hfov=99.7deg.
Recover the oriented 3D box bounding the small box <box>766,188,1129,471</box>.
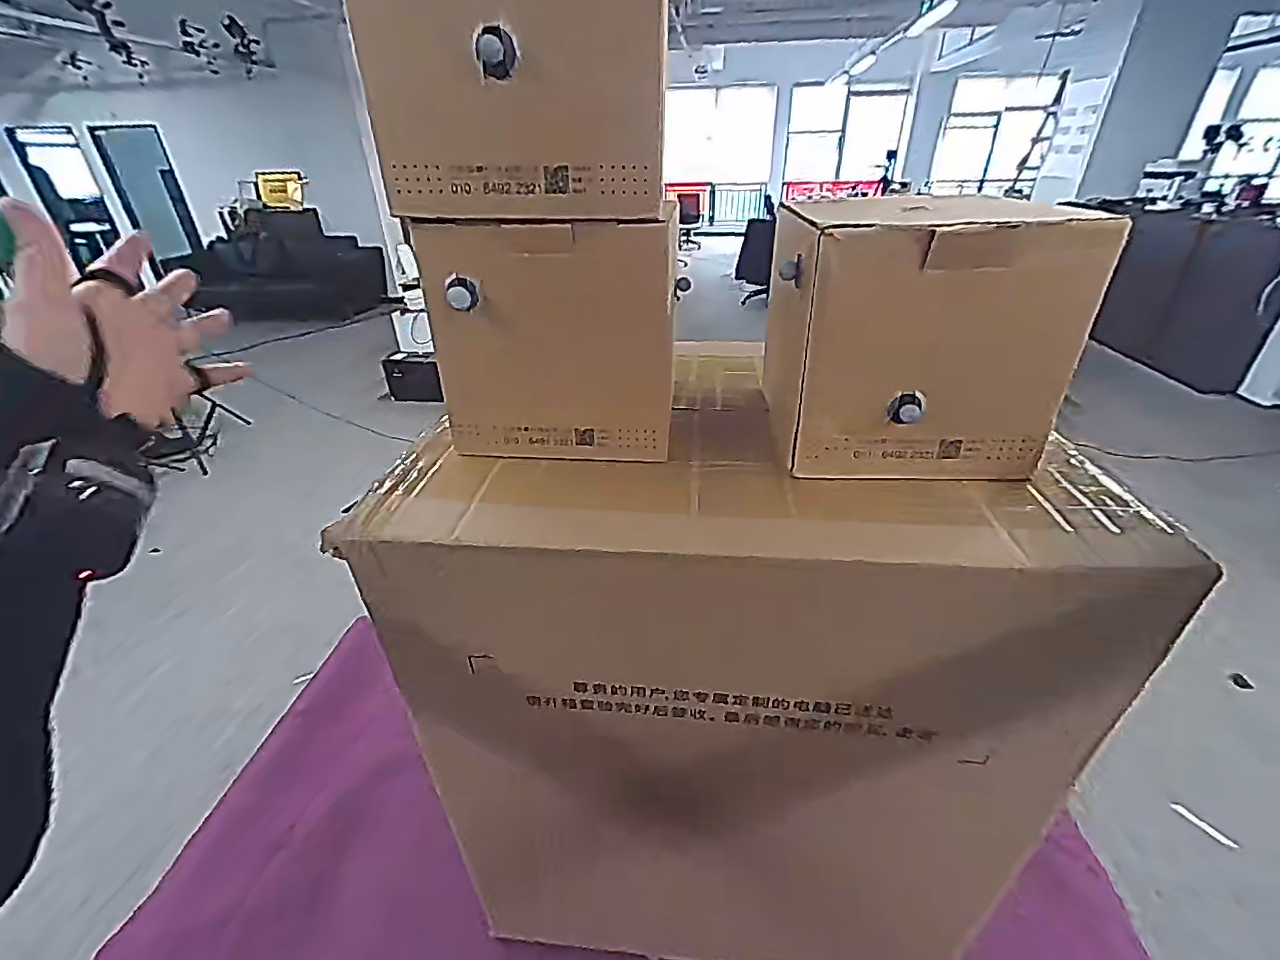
[{"bbox_3d":[0.194,-0.121,0.412,0.168,0.176,0.179,0,31,4],"label":"small box"}]

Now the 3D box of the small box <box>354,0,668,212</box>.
[{"bbox_3d":[-0.065,-0.274,0.355,0.168,0.176,0.179,1,30,2],"label":"small box"}]
